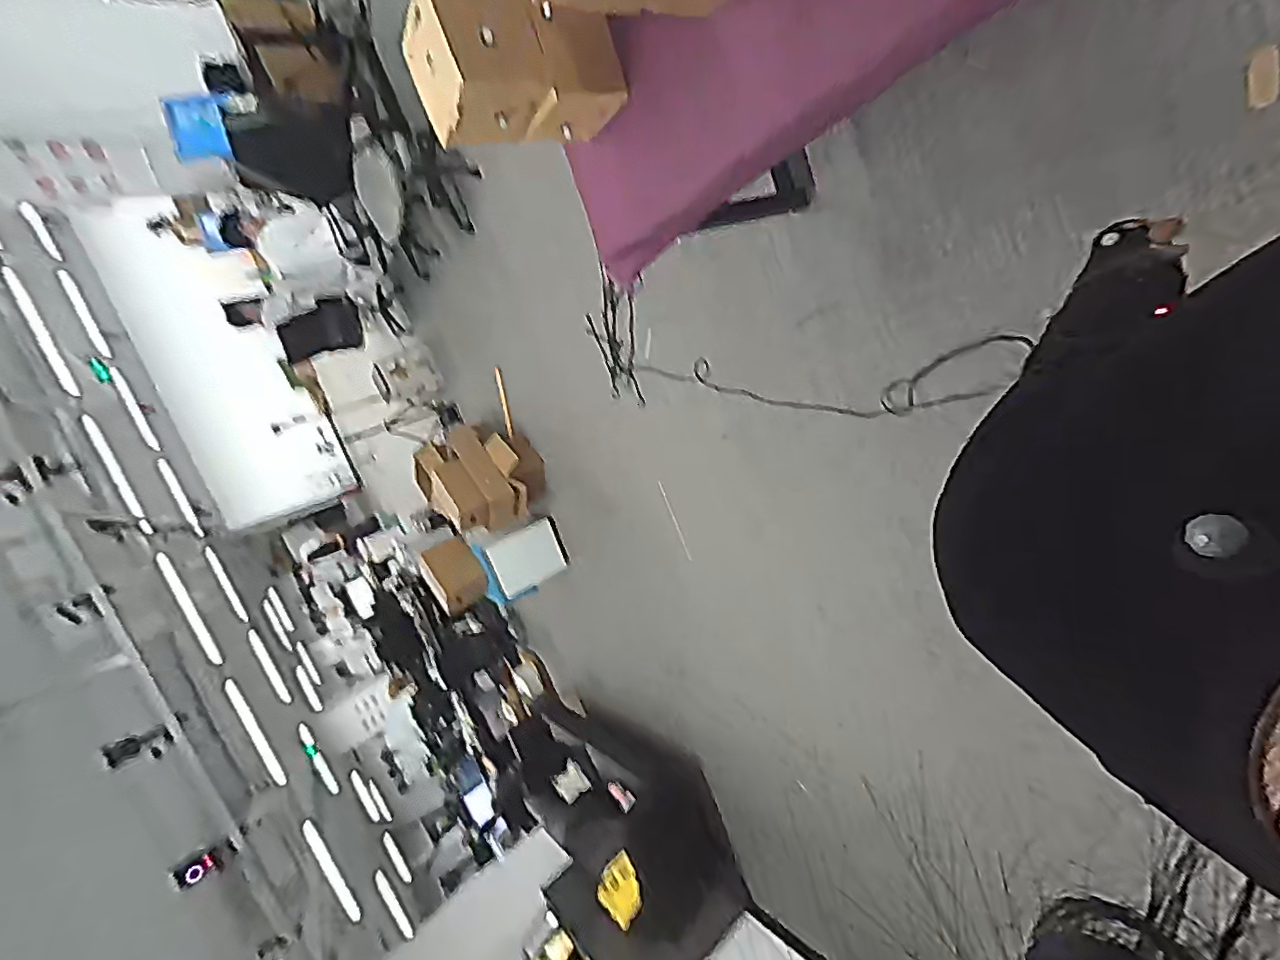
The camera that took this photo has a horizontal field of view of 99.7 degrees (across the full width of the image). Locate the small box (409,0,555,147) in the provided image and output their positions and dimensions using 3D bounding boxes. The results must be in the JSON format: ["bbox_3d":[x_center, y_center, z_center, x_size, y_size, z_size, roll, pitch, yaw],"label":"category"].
[{"bbox_3d":[-0.273,-0.722,0.943,0.168,0.176,0.179,-12,103,57],"label":"small box"}]

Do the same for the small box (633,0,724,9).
[{"bbox_3d":[0.075,-0.768,0.705,0.179,0.176,0.168,-3,109,57],"label":"small box"}]

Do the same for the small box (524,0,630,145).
[{"bbox_3d":[-0.144,-0.776,1.029,0.168,0.176,0.179,-2,110,57],"label":"small box"}]
